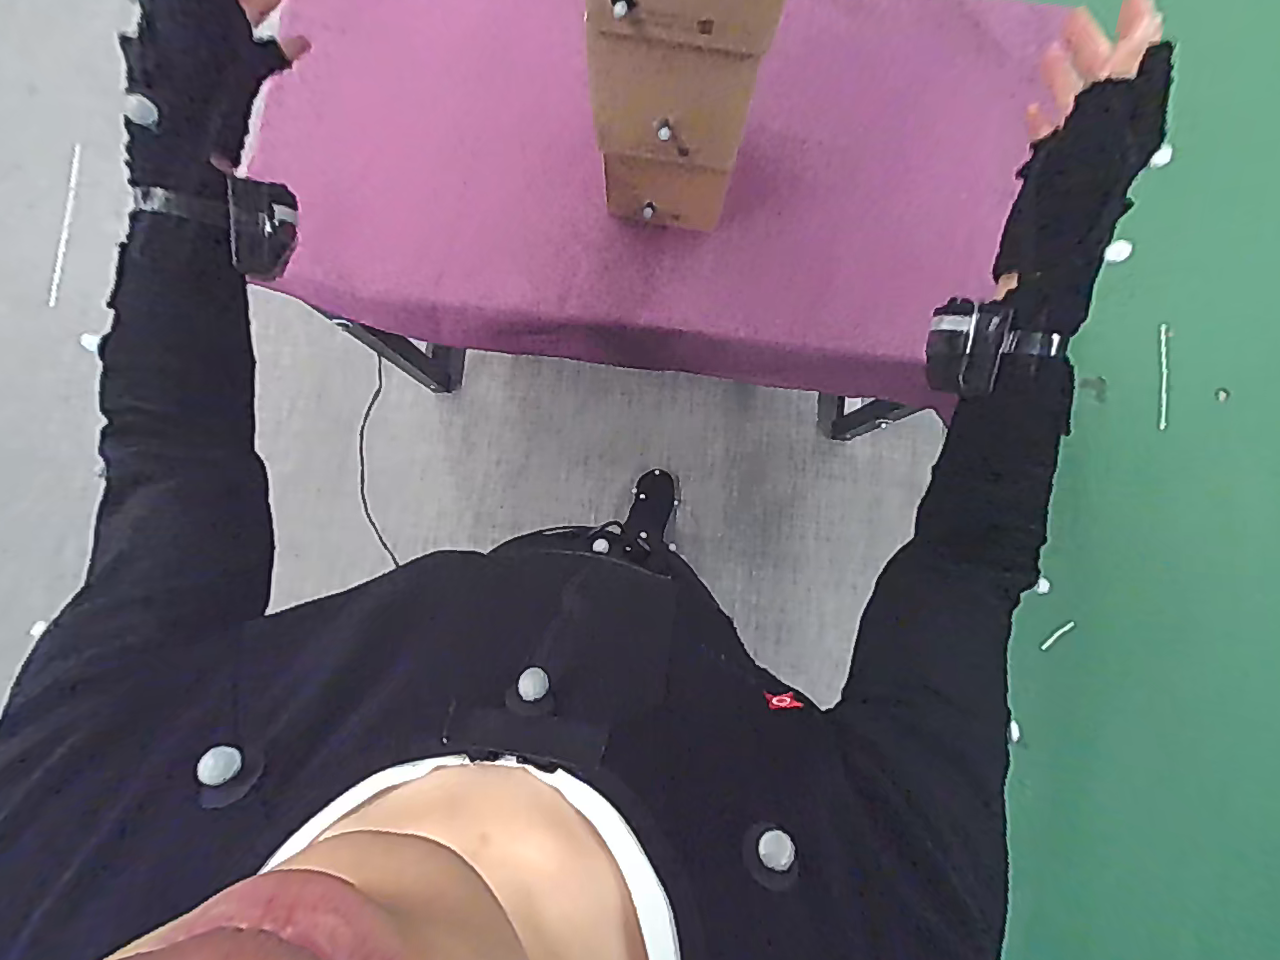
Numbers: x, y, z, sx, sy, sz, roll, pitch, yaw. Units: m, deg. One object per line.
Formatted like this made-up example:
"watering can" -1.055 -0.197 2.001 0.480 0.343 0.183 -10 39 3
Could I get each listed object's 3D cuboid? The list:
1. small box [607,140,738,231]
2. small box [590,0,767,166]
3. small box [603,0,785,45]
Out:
"small box" 0.049 -0.478 0.739 0.168 0.176 0.179 10 85 0
"small box" 0.046 -0.479 0.574 0.168 0.176 0.179 9 85 0
"small box" 0.052 -0.485 0.411 0.168 0.176 0.179 9 84 0
